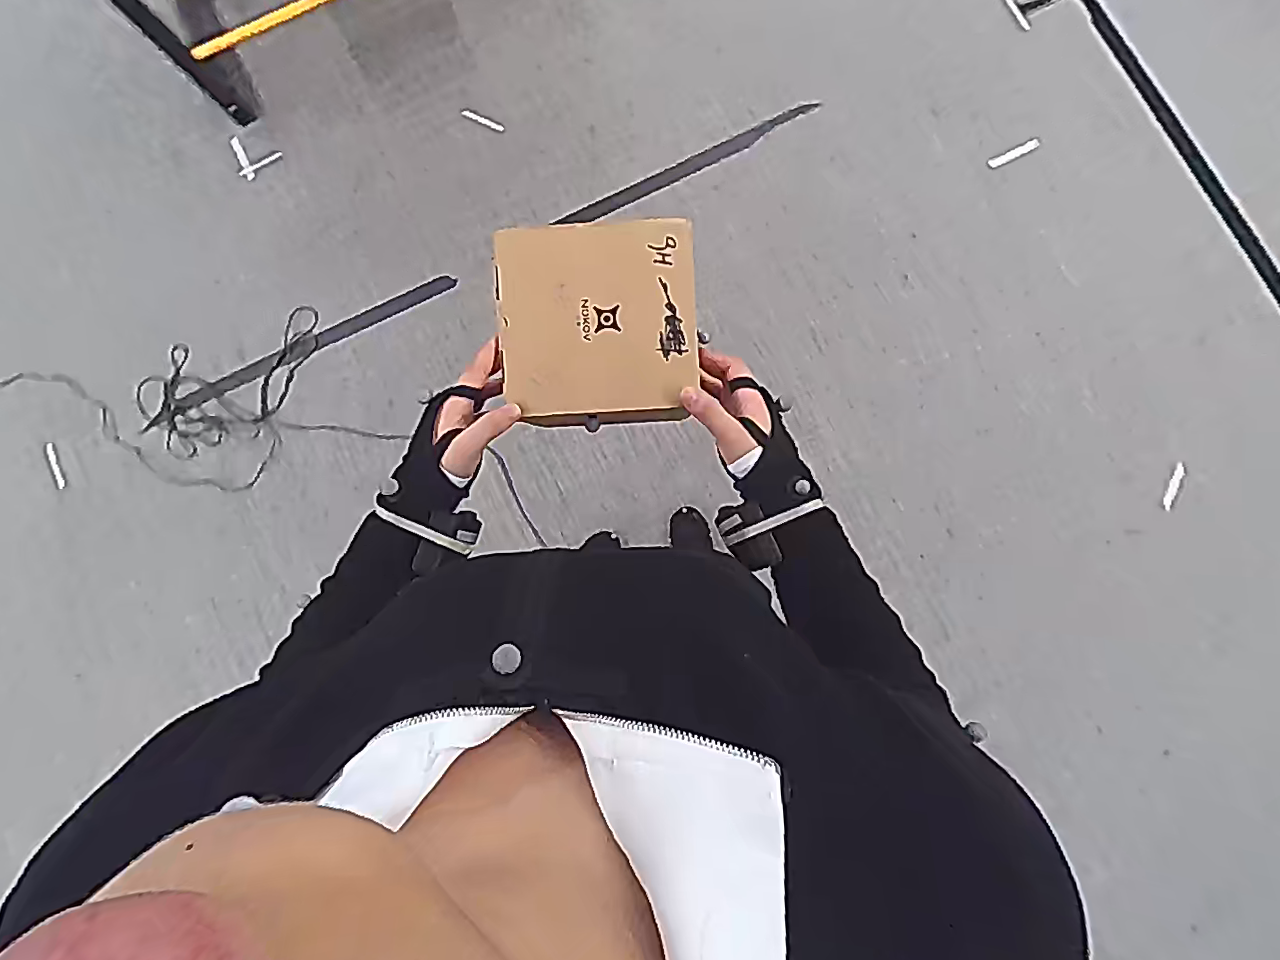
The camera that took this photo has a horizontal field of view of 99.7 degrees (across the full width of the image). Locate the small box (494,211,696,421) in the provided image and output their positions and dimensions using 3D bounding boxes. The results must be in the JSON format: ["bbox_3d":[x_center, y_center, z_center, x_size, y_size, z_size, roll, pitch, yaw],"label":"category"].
[{"bbox_3d":[-0.038,-0.152,0.557,0.179,0.176,0.168,-3,92,1],"label":"small box"}]

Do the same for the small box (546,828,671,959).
[{"bbox_3d":[-0.049,0.805,1.007,0.168,0.176,0.179,-28,83,-1],"label":"small box"}]
